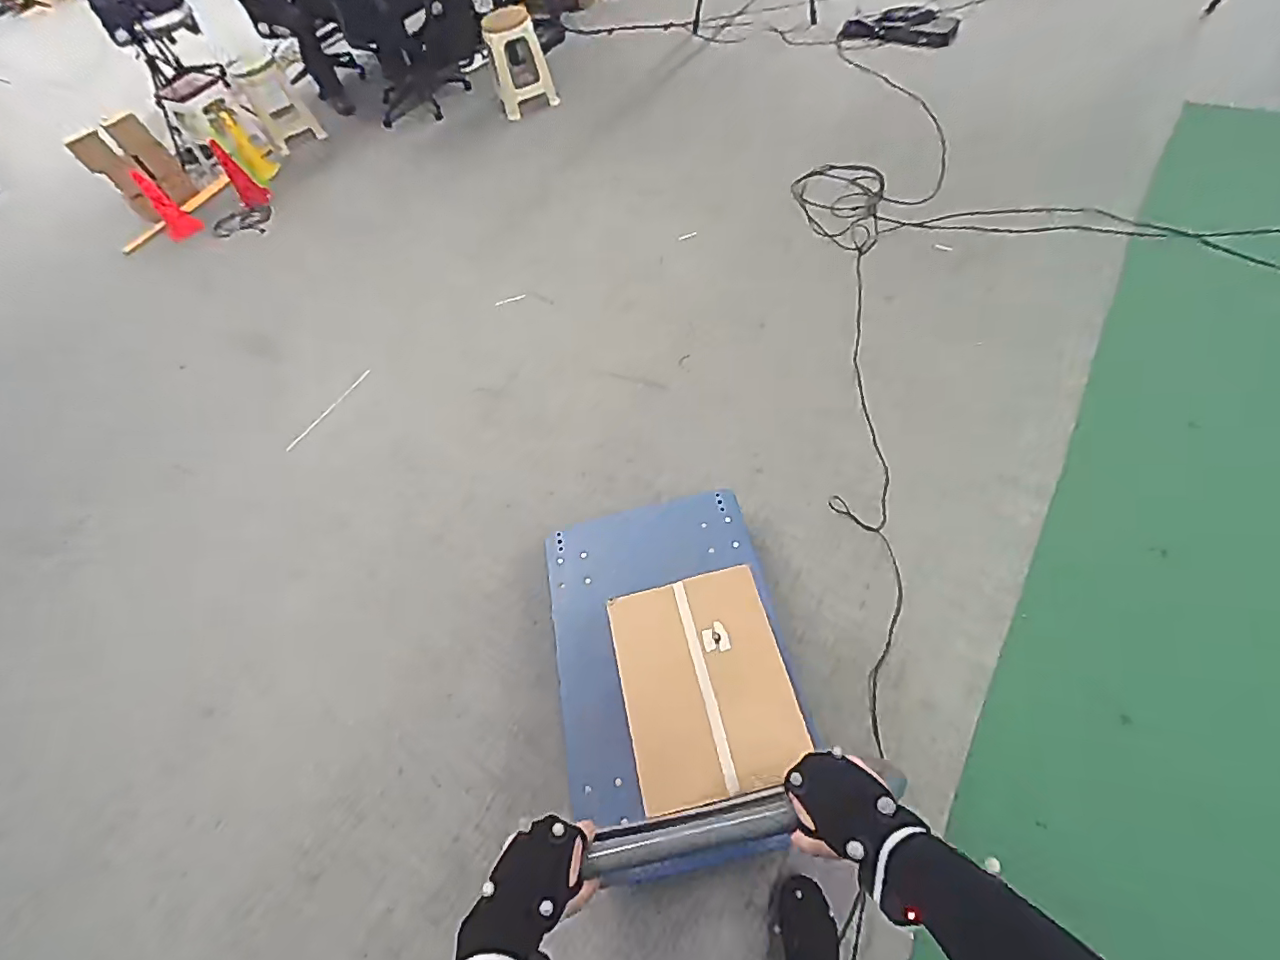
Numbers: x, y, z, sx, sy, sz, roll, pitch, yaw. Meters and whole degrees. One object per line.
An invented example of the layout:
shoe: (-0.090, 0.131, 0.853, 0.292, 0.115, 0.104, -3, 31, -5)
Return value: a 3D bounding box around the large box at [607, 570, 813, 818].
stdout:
large box: (0.141, 0.470, 1.179, 0.320, 0.320, 0.408, -14, 56, 0)
